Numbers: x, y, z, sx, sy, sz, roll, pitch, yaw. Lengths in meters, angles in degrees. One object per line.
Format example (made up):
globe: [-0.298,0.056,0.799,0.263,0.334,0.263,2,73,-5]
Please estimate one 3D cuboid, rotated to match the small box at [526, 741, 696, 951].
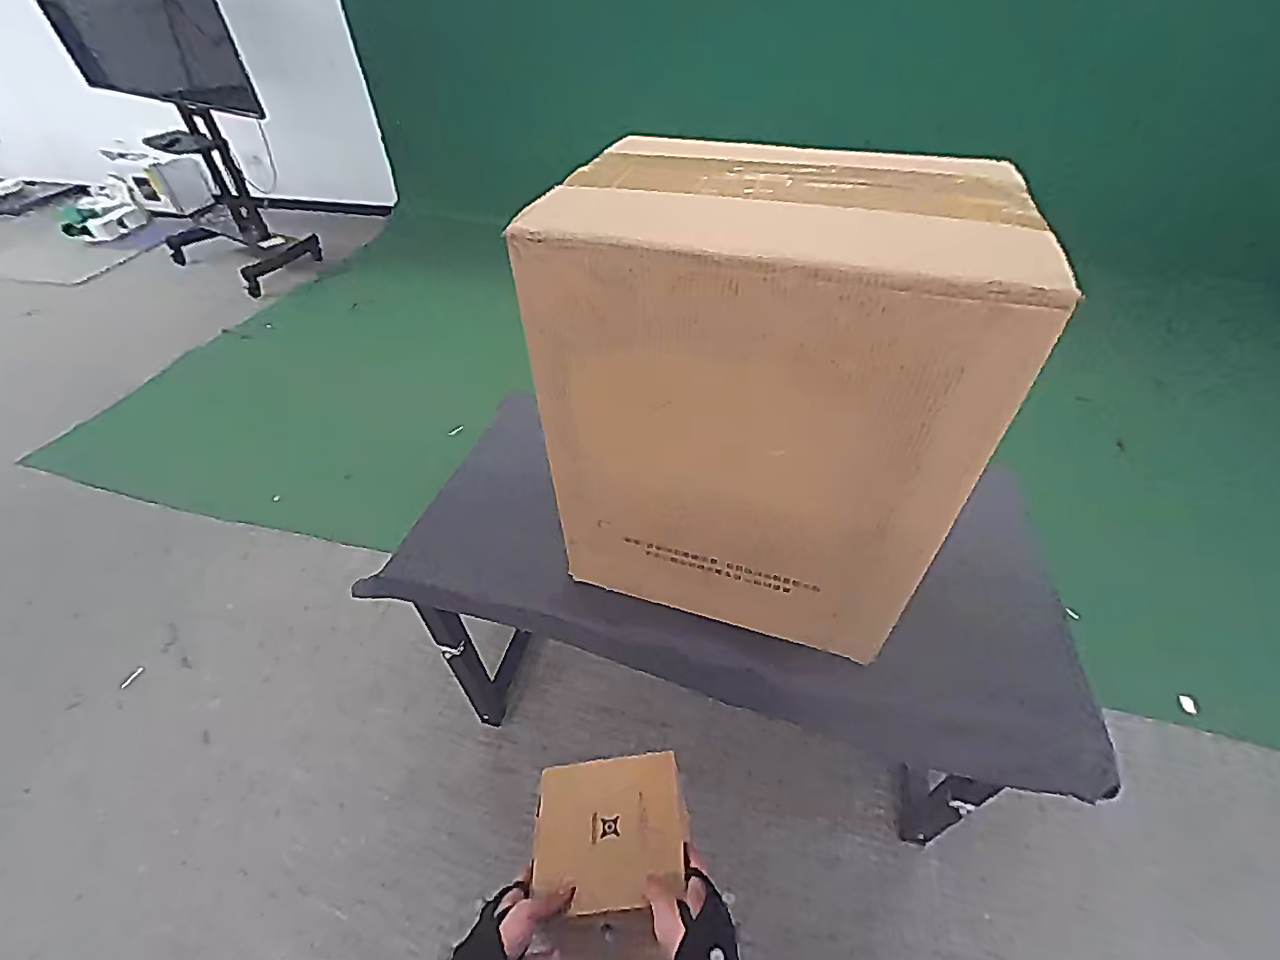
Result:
small box: [-0.031,0.464,0.686,0.179,0.176,0.168,-8,35,1]
